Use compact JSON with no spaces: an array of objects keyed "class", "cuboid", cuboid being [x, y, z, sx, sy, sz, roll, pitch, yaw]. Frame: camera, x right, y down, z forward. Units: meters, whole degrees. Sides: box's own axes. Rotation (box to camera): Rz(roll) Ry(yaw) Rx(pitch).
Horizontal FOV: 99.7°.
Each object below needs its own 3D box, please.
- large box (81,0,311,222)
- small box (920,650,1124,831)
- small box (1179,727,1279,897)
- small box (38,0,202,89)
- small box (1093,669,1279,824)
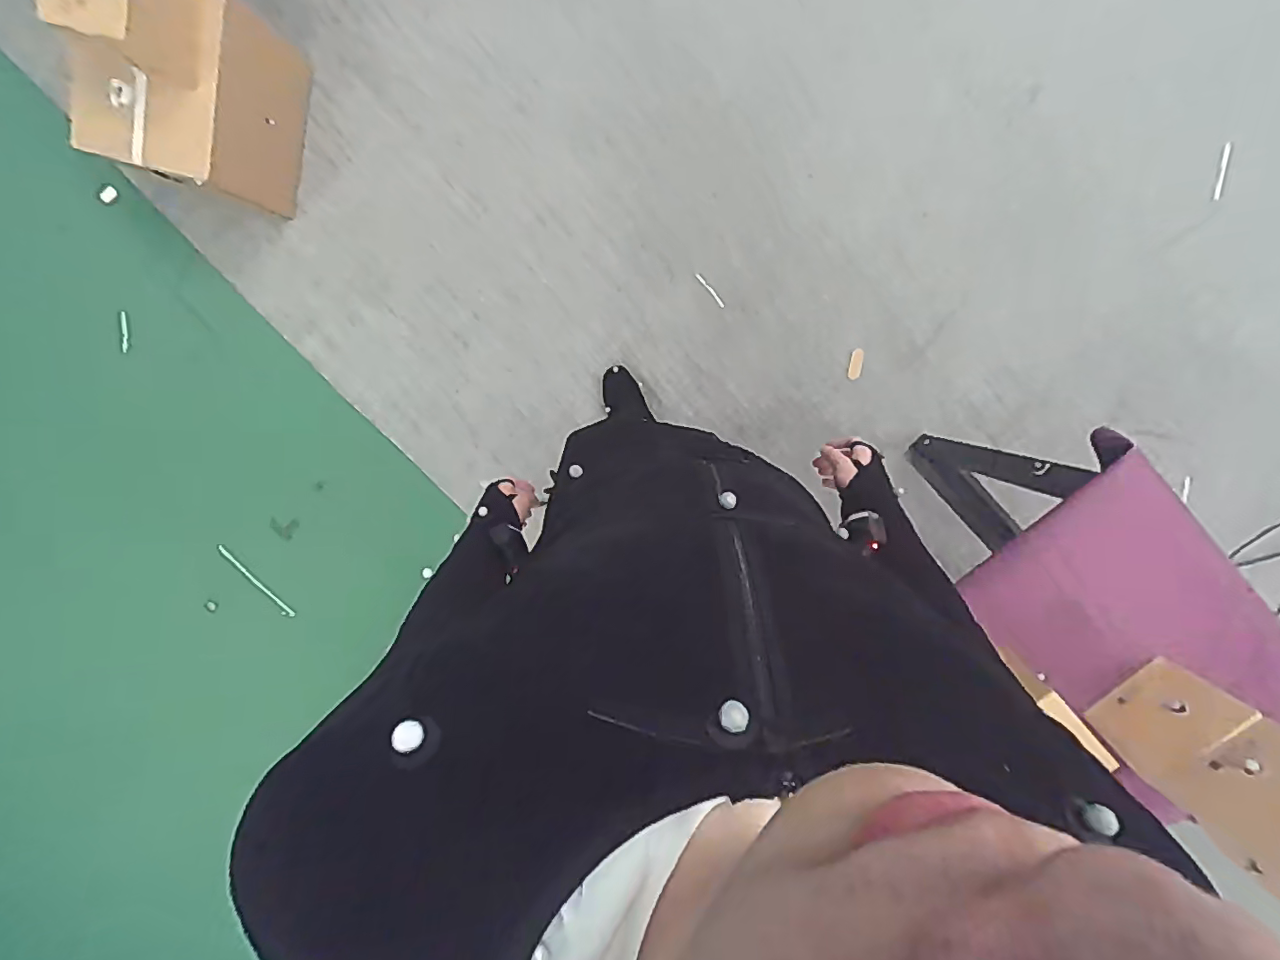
[{"class":"large box","cuboid":[-1.065,-0.915,1.330,0.320,0.320,0.408,14,101,-1]},{"class":"small box","cuboid":[0.599,0.404,0.875,0.168,0.176,0.179,-43,99,8]},{"class":"small box","cuboid":[0.902,0.474,0.718,0.168,0.176,0.179,-40,97,7]},{"class":"small box","cuboid":[-1.020,-0.930,1.074,0.168,0.176,0.179,14,101,-2]},{"class":"small box","cuboid":[0.908,0.438,0.878,0.179,0.176,0.168,44,98,-7]}]
